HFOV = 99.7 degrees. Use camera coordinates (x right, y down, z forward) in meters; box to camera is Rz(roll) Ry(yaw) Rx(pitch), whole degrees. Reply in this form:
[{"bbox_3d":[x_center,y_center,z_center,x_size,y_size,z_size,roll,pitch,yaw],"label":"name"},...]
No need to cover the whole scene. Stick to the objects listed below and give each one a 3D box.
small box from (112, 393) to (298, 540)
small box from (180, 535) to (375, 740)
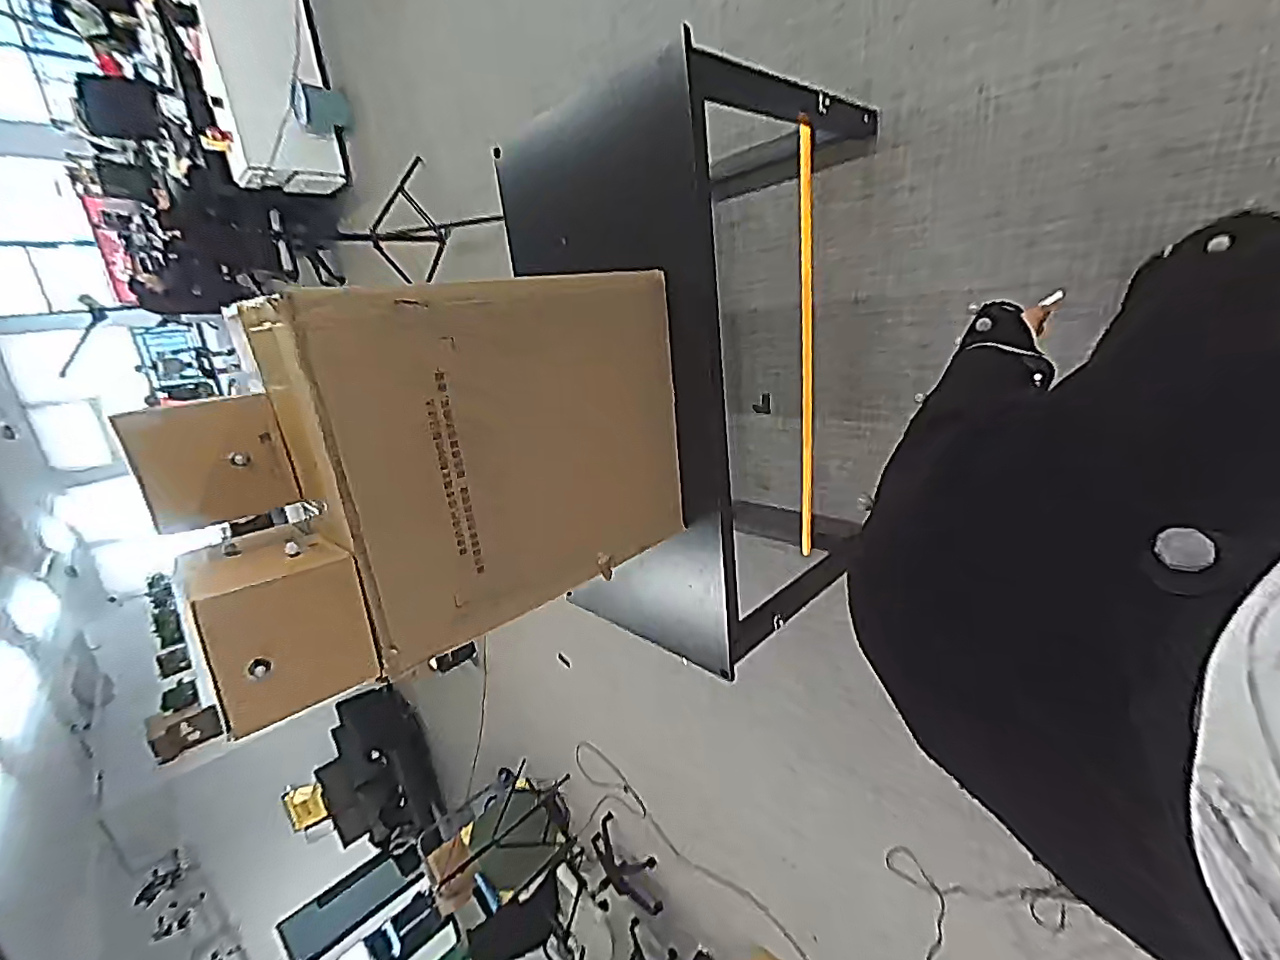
[{"bbox_3d":[-0.627,-0.031,0.794,0.179,0.176,0.168,10,115,48],"label":"small box"},{"bbox_3d":[-0.468,0.190,0.709,0.168,0.176,0.179,8,109,45],"label":"small box"}]
